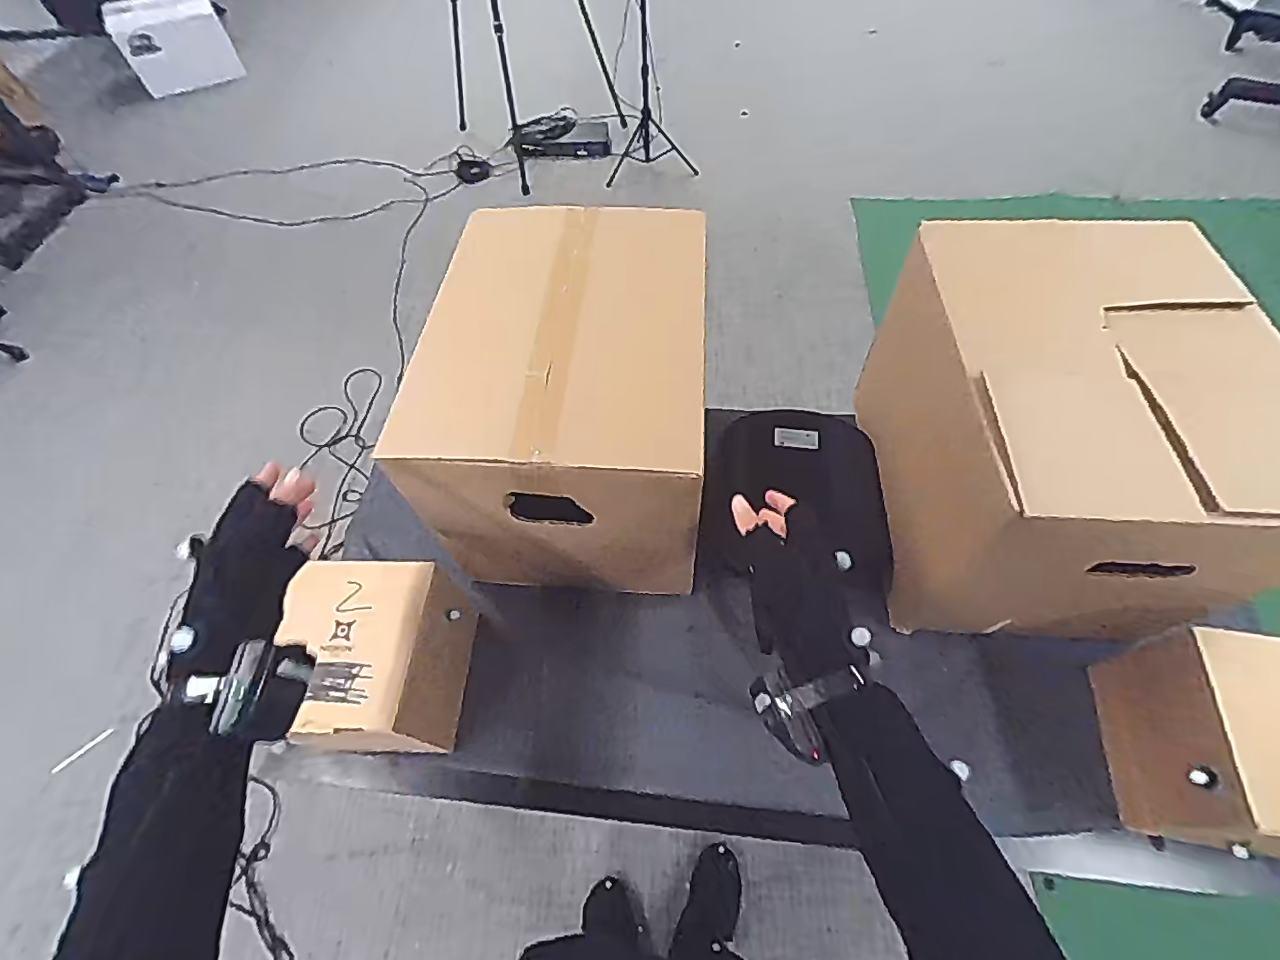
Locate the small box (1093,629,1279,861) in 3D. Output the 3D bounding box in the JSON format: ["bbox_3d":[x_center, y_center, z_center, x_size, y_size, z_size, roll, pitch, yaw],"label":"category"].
[{"bbox_3d":[0.606,0.270,0.543,0.168,0.176,0.179,7,61,9],"label":"small box"}]
